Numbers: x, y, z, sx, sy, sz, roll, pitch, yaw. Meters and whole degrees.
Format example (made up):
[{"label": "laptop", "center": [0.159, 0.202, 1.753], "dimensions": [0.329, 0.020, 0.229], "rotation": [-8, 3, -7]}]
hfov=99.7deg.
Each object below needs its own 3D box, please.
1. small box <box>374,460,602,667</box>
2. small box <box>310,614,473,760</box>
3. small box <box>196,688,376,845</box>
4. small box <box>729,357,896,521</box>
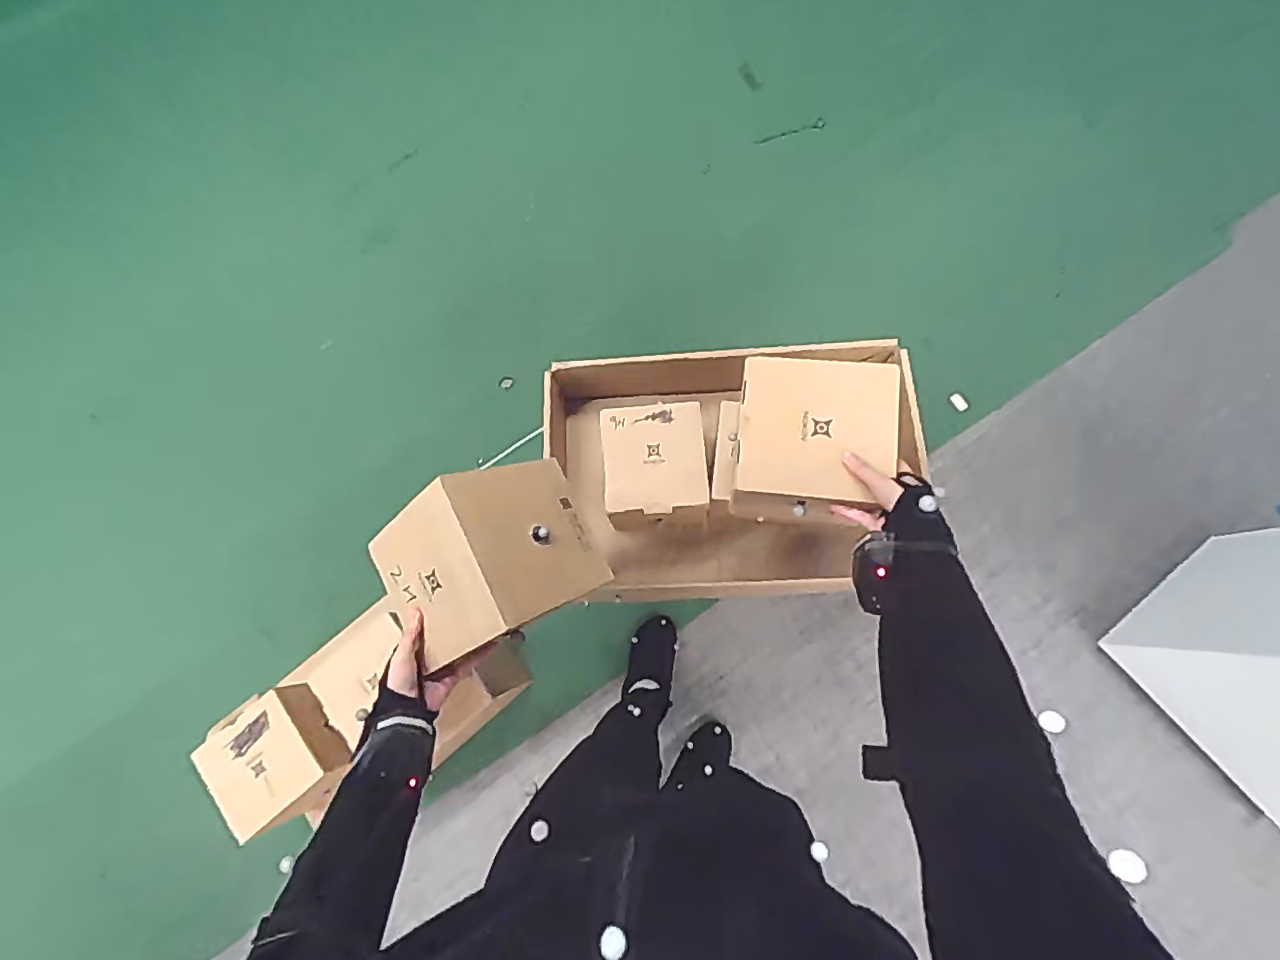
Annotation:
[{"label": "small box", "center": [-0.168, 0.088, 0.631], "dimensions": [0.179, 0.176, 0.168], "rotation": [-33, 78, 34]}, {"label": "small box", "center": [-0.440, 0.365, 0.983], "dimensions": [0.179, 0.176, 0.168], "rotation": [-40, 78, -7]}, {"label": "small box", "center": [-0.617, 0.490, 0.963], "dimensions": [0.168, 0.176, 0.179], "rotation": [-40, 76, -6]}, {"label": "small box", "center": [0.210, -0.044, 0.697], "dimensions": [0.179, 0.176, 0.168], "rotation": [5, 78, 10]}]
